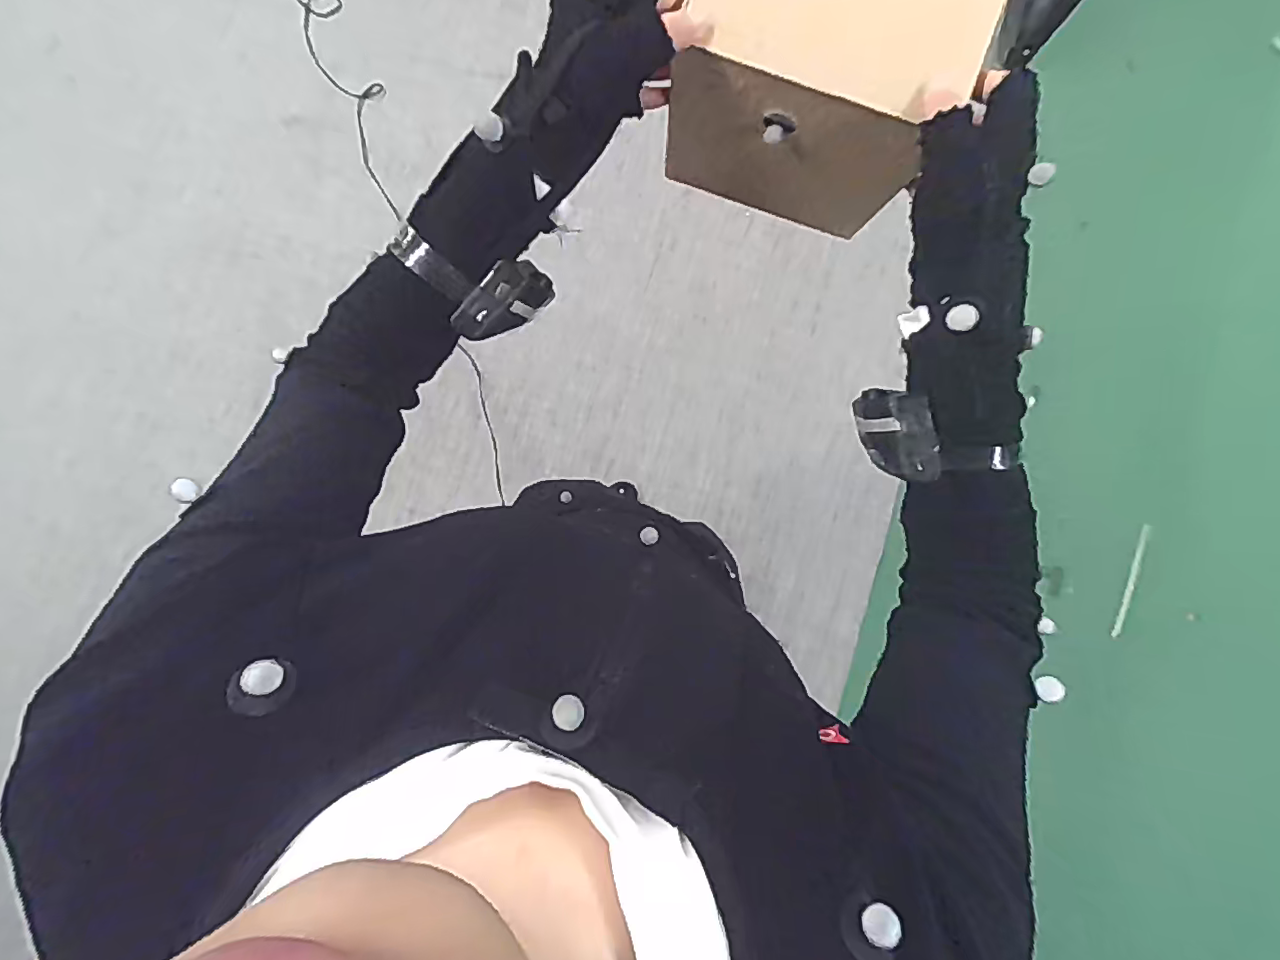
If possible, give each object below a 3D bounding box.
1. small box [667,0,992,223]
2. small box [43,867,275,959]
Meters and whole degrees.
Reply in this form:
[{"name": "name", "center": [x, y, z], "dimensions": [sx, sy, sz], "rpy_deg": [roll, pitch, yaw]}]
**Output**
[{"name": "small box", "center": [0.125, -0.315, 0.390], "dimensions": [0.179, 0.176, 0.168], "rpy_deg": [19, 95, -1]}, {"name": "small box", "center": [-0.639, 0.654, 0.718], "dimensions": [0.179, 0.176, 0.168], "rpy_deg": [8, 83, 0]}]
